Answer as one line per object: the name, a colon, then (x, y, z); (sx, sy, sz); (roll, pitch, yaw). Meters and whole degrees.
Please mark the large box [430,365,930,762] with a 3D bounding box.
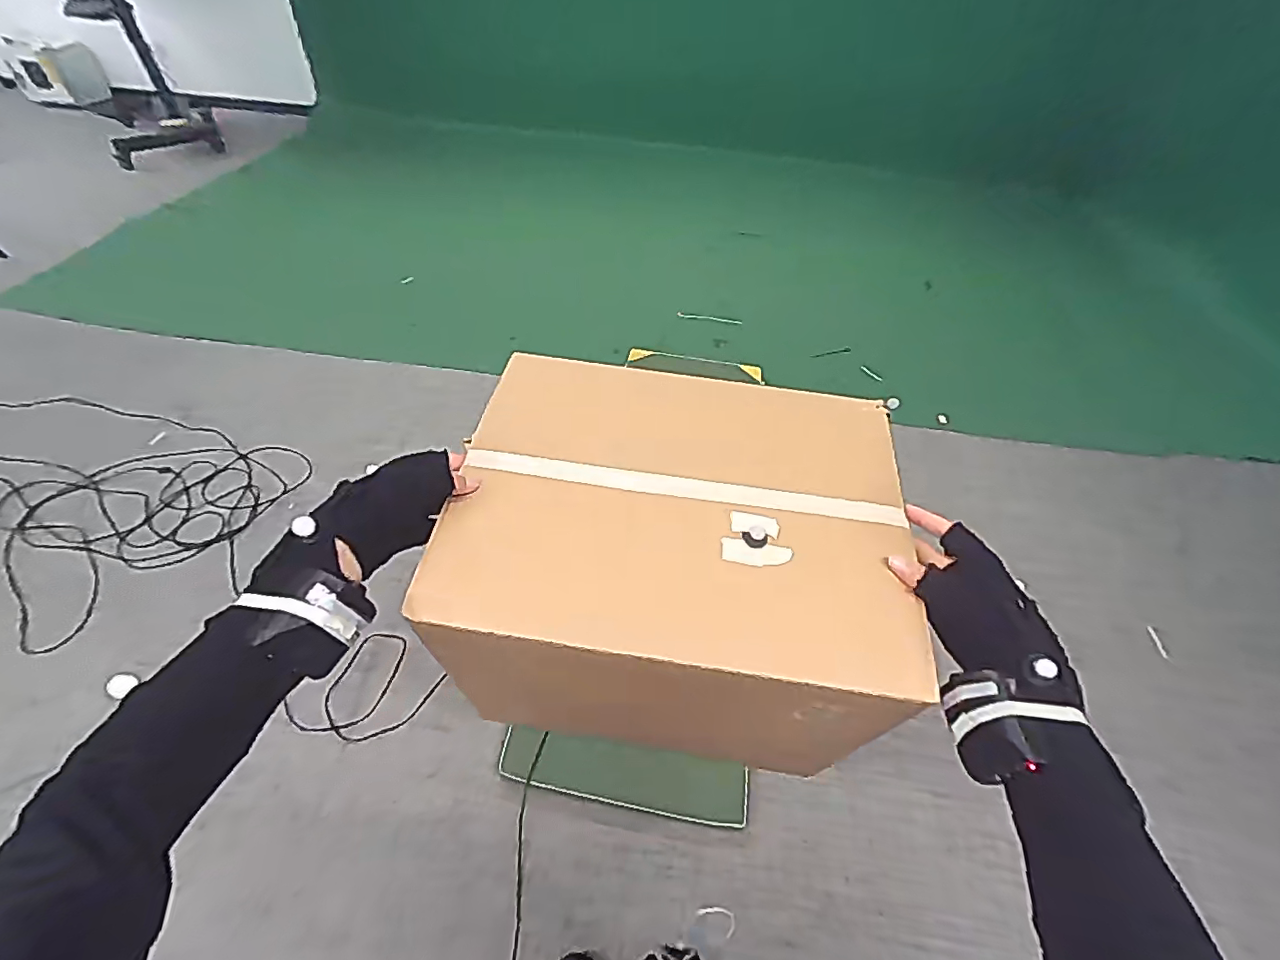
large box: (0.036, 0.104, 0.627); (0.408, 0.320, 0.320); (9, 53, 2)
